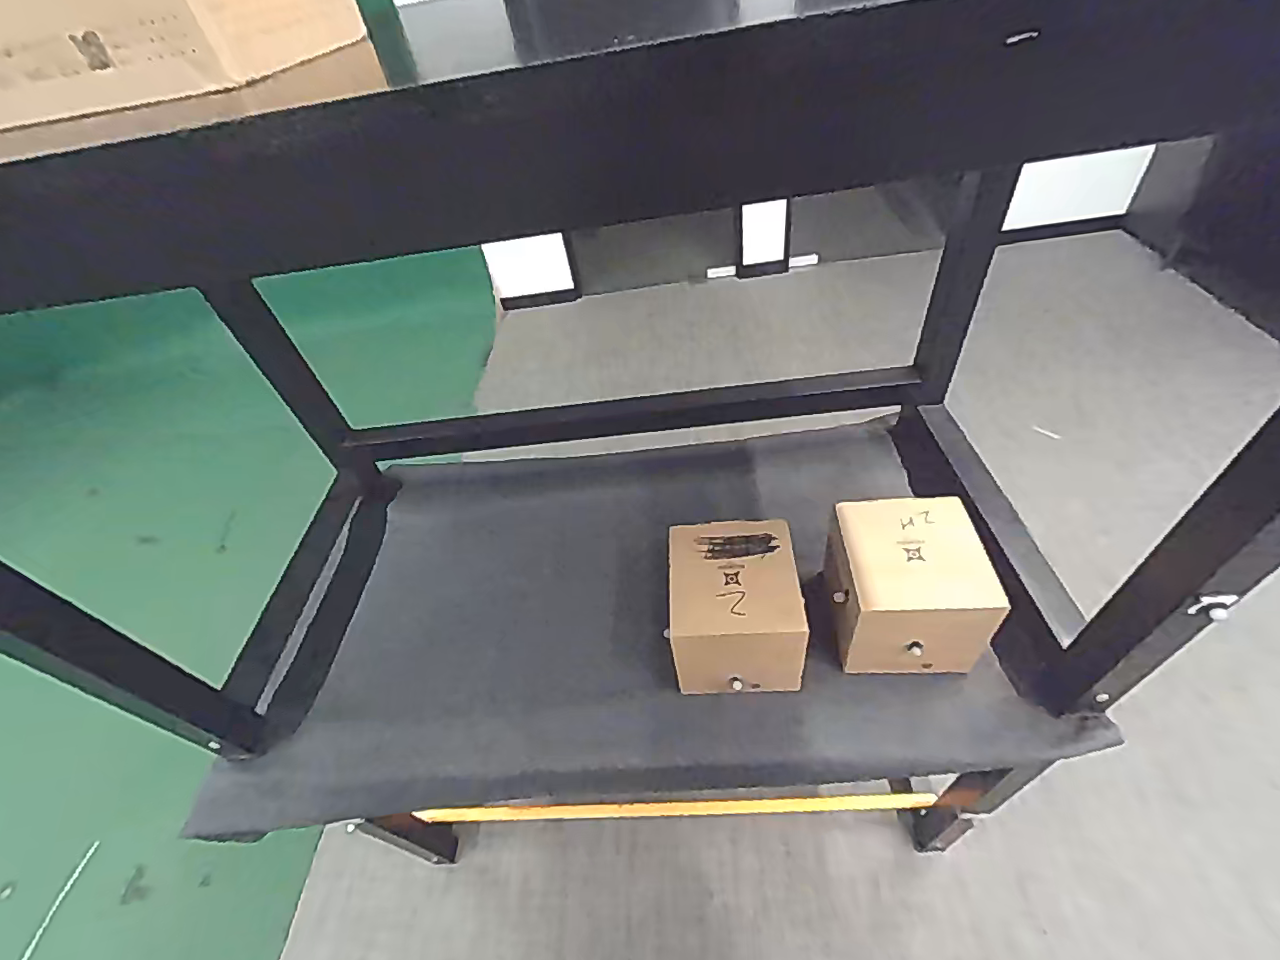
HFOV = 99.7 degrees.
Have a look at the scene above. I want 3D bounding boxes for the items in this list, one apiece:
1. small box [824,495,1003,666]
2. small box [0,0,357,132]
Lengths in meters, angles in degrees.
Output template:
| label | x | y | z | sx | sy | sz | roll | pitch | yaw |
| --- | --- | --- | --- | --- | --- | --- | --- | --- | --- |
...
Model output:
| label | x | y | z | sx | sy | sz | roll | pitch | yaw |
| --- | --- | --- | --- | --- | --- | --- | --- | --- | --- |
| small box | 0.357 | 0.143 | 0.746 | 0.168 | 0.176 | 0.179 | -3 | 45 | 8 |
| small box | -0.290 | -0.304 | 0.287 | 0.168 | 0.176 | 0.179 | -4 | 46 | 8 |
